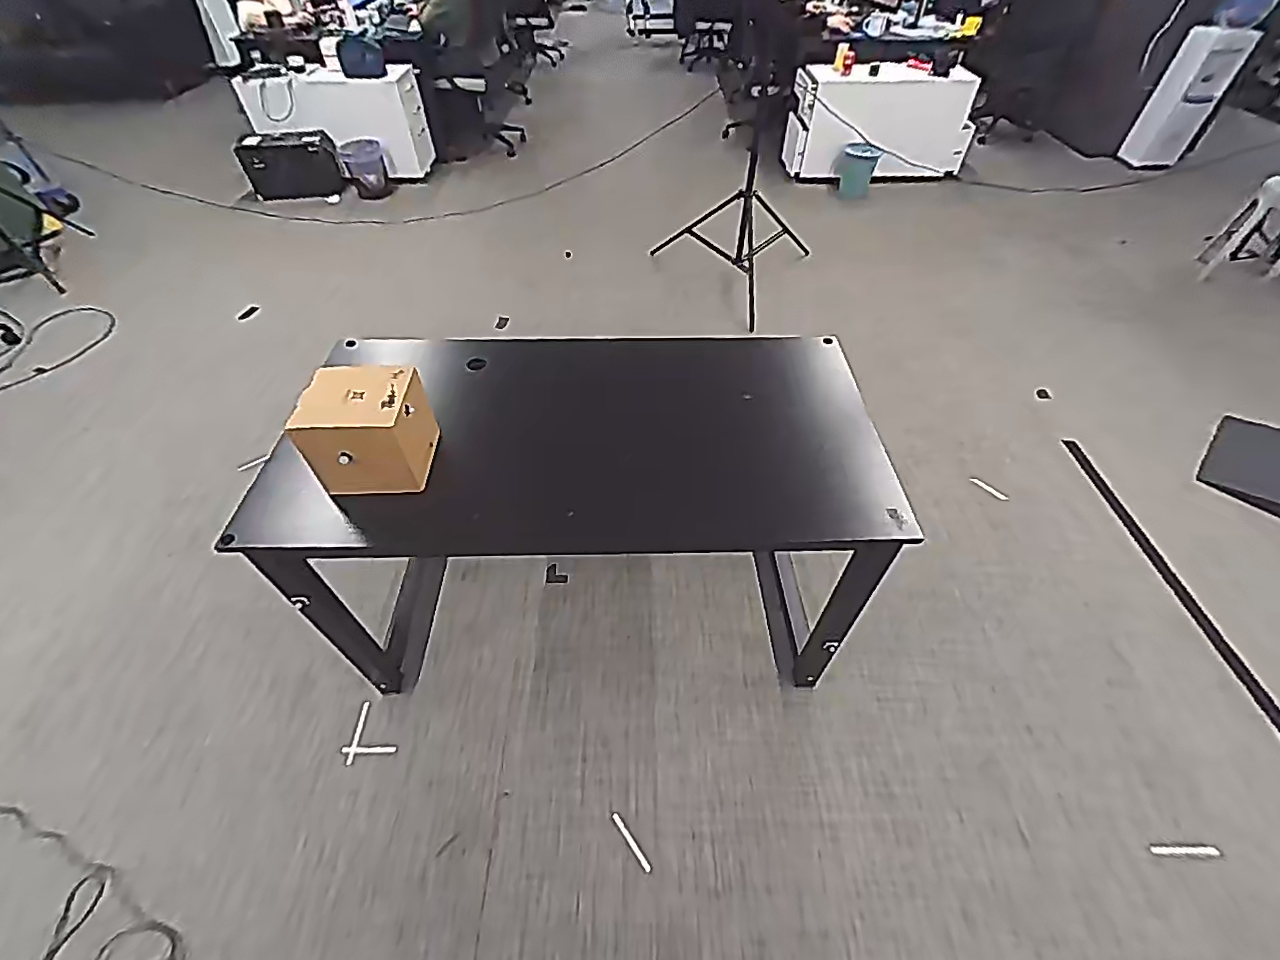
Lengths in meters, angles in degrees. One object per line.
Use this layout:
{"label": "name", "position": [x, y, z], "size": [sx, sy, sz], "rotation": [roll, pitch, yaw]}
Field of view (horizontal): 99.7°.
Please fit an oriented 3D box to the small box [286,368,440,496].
{"label": "small box", "position": [-0.489, -0.084, 0.987], "size": [0.179, 0.176, 0.168], "rotation": [-2, 49, -2]}
